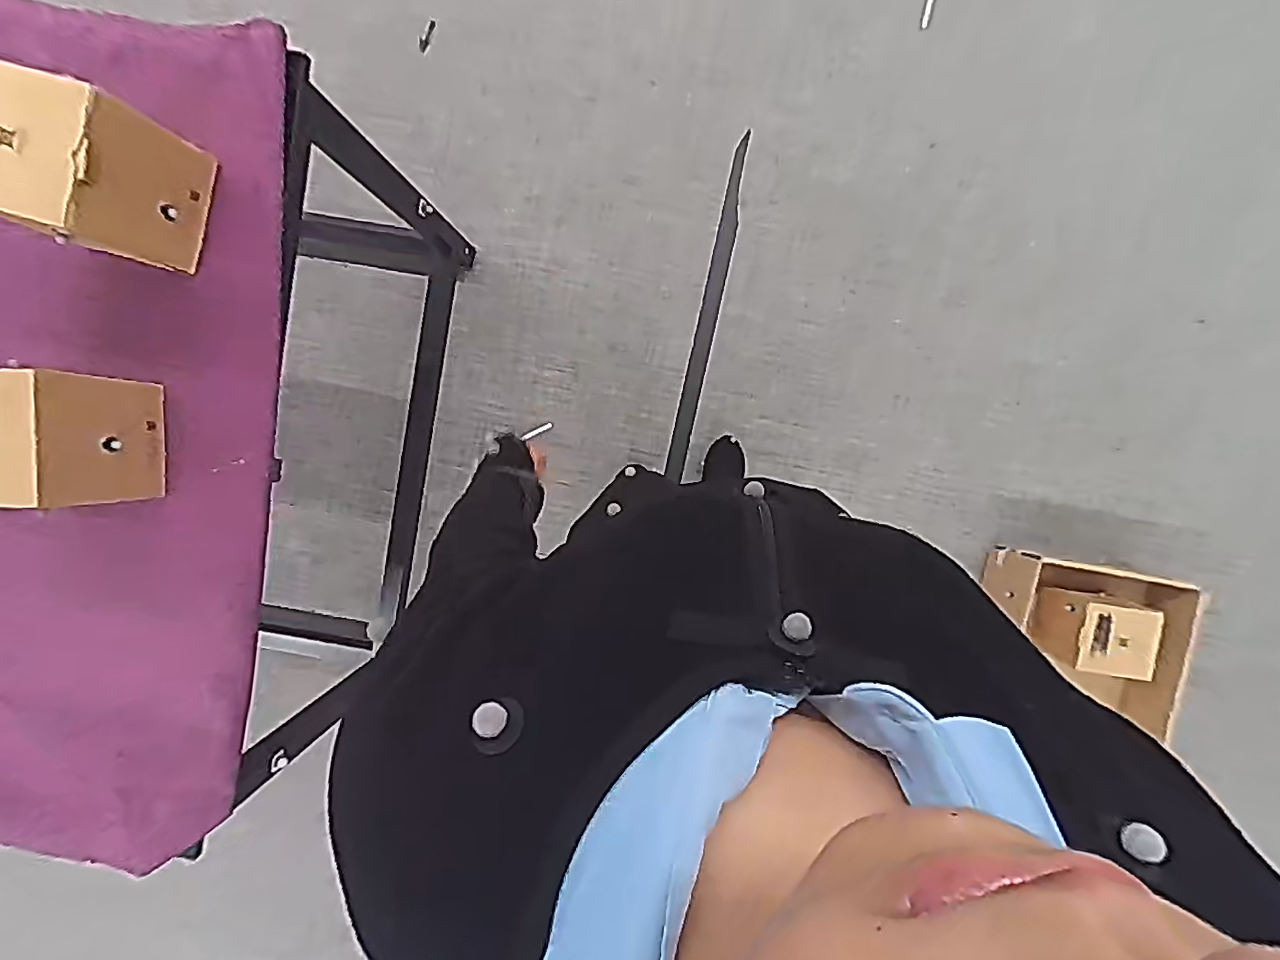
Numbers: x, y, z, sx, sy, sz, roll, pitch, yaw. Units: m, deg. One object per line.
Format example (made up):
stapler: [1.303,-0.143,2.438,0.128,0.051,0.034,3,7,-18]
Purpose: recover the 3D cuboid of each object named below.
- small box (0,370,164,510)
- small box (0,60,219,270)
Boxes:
small box: [-0.782,-0.055,0.718,0.179,0.176,0.168,2,93,3]
small box: [-0.703,-0.390,0.695,0.179,0.176,0.168,15,94,3]
